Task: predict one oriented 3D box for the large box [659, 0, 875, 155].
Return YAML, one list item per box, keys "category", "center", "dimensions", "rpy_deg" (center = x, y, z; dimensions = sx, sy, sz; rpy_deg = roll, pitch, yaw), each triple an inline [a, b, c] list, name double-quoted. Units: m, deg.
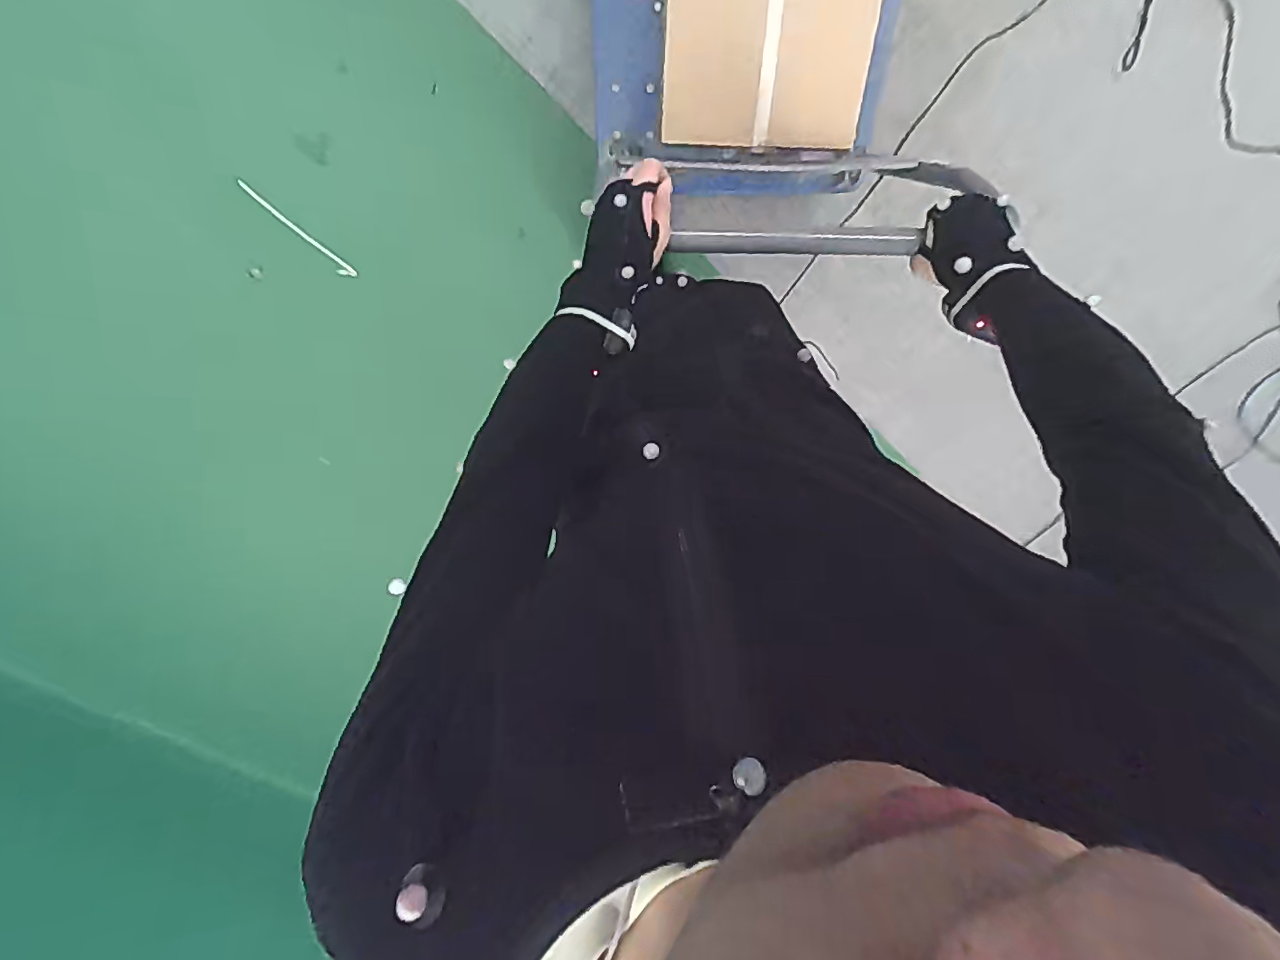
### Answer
- category: "large box"
  center: [0.193, -0.785, 0.906]
  dimensions: [0.320, 0.320, 0.408]
  rpy_deg: [2, 120, 0]
